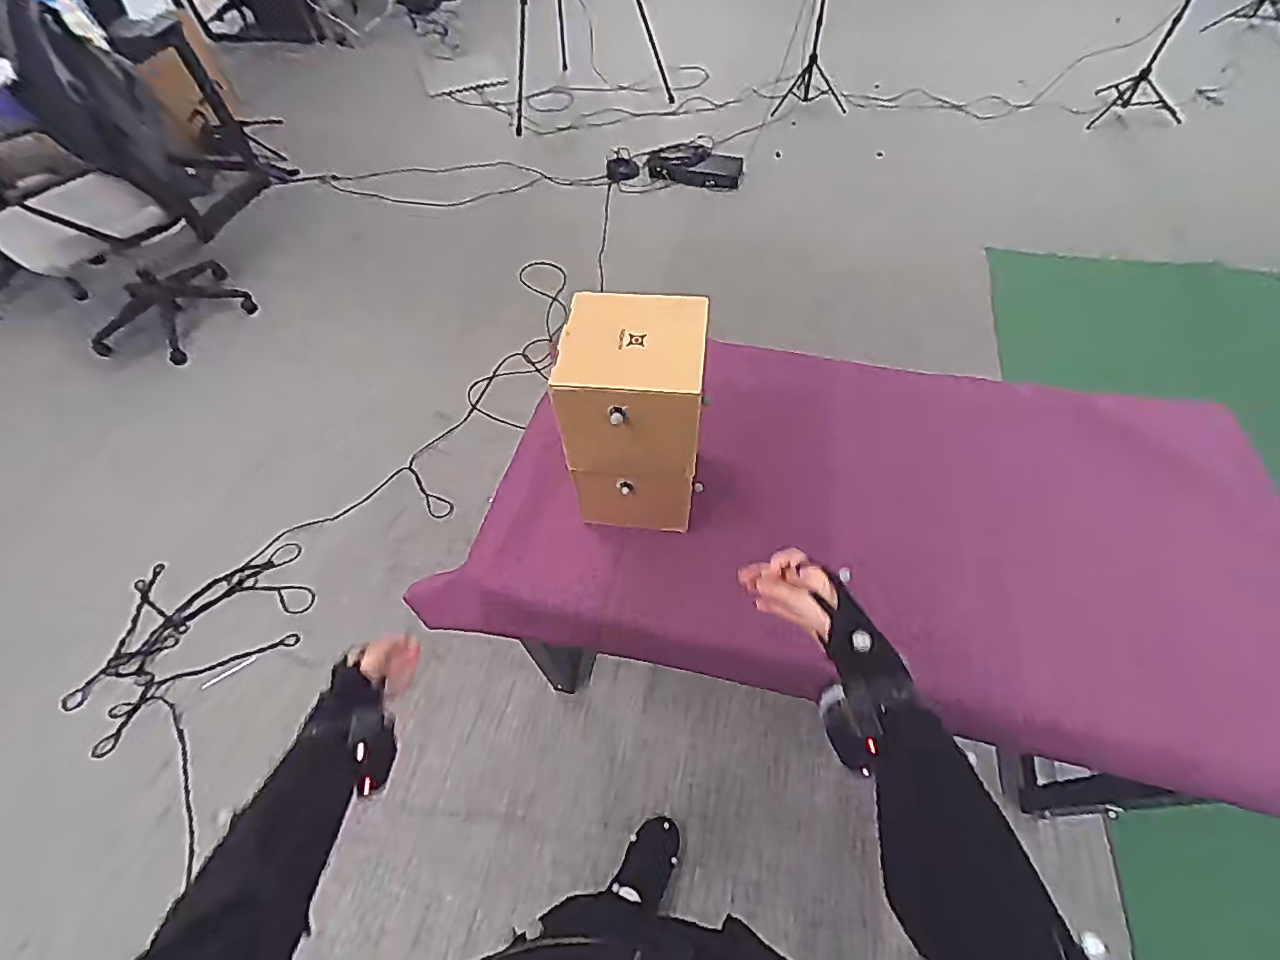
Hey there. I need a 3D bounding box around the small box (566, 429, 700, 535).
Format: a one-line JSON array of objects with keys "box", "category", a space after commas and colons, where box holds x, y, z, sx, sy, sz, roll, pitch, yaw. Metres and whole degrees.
[{"box": [-0.002, -0.028, 0.844, 0.179, 0.176, 0.168, 6, 56, 6], "category": "small box"}]

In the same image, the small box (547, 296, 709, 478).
[{"box": [-0.006, -0.116, 0.708, 0.179, 0.176, 0.168, 4, 57, 7], "category": "small box"}]
